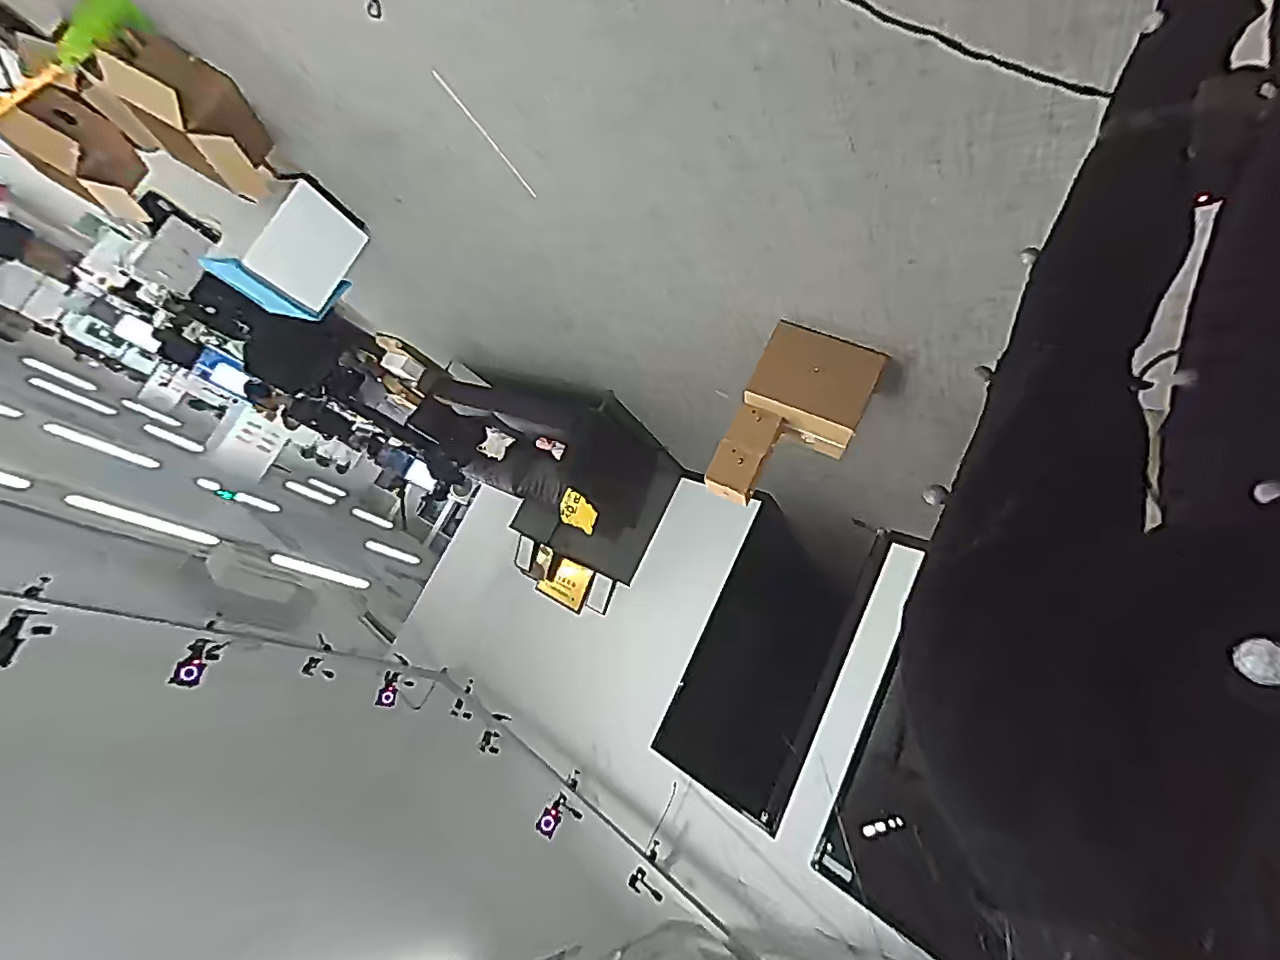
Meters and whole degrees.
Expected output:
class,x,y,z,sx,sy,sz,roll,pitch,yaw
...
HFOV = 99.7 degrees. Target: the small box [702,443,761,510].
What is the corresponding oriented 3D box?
class,x,y,z,sx,sy,sz,roll,pitch,yaw
small box,0.350,-0.014,2.034,0.168,0.176,0.179,23,168,19
